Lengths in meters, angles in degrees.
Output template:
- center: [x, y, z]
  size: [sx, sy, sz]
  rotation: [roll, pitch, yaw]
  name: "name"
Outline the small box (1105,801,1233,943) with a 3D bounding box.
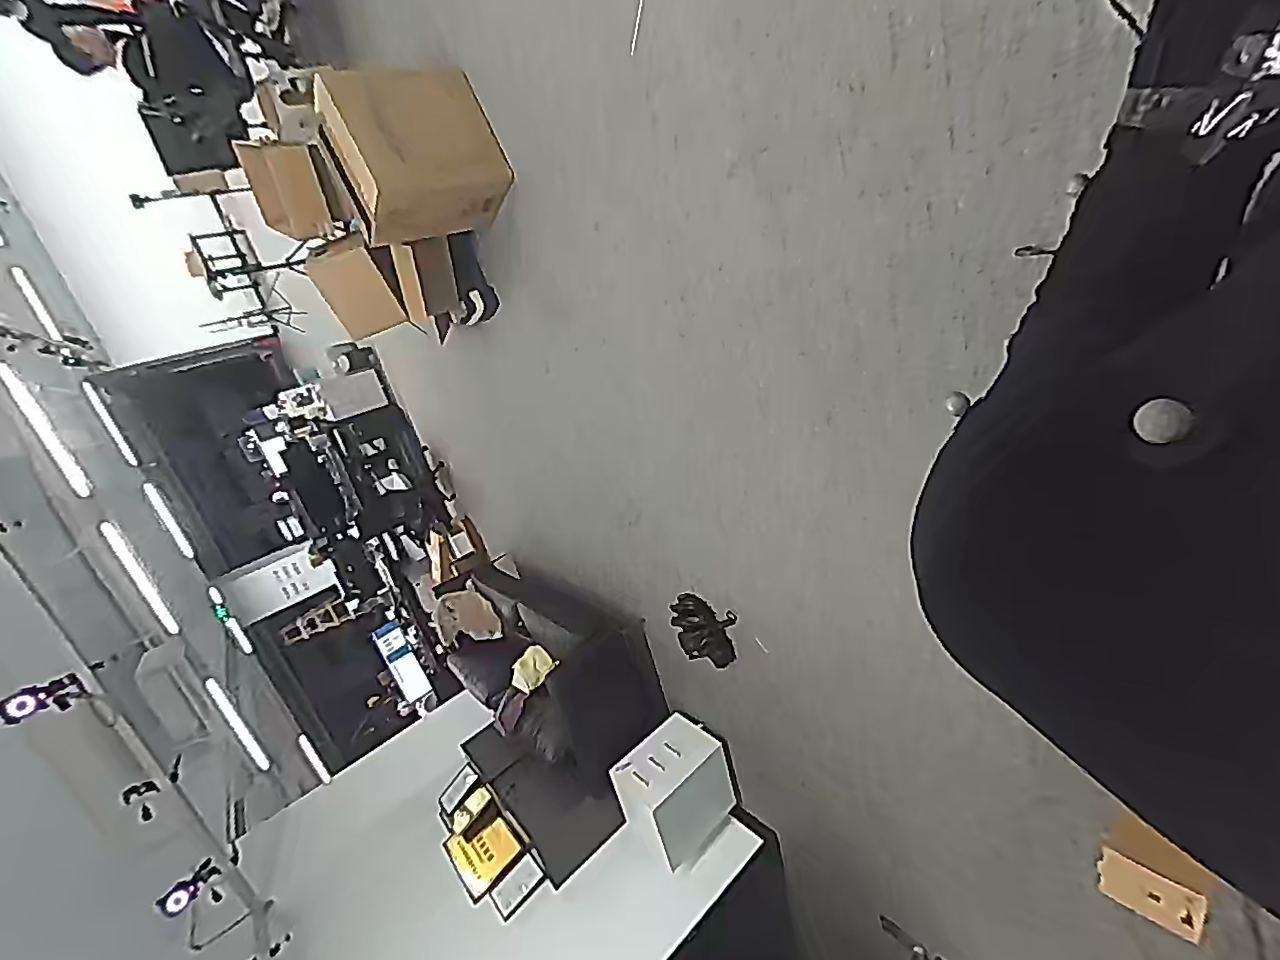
- center: [1.219, 0.888, 1.250]
  size: [0.179, 0.176, 0.168]
  rotation: [14, 125, 50]
  name: "small box"
